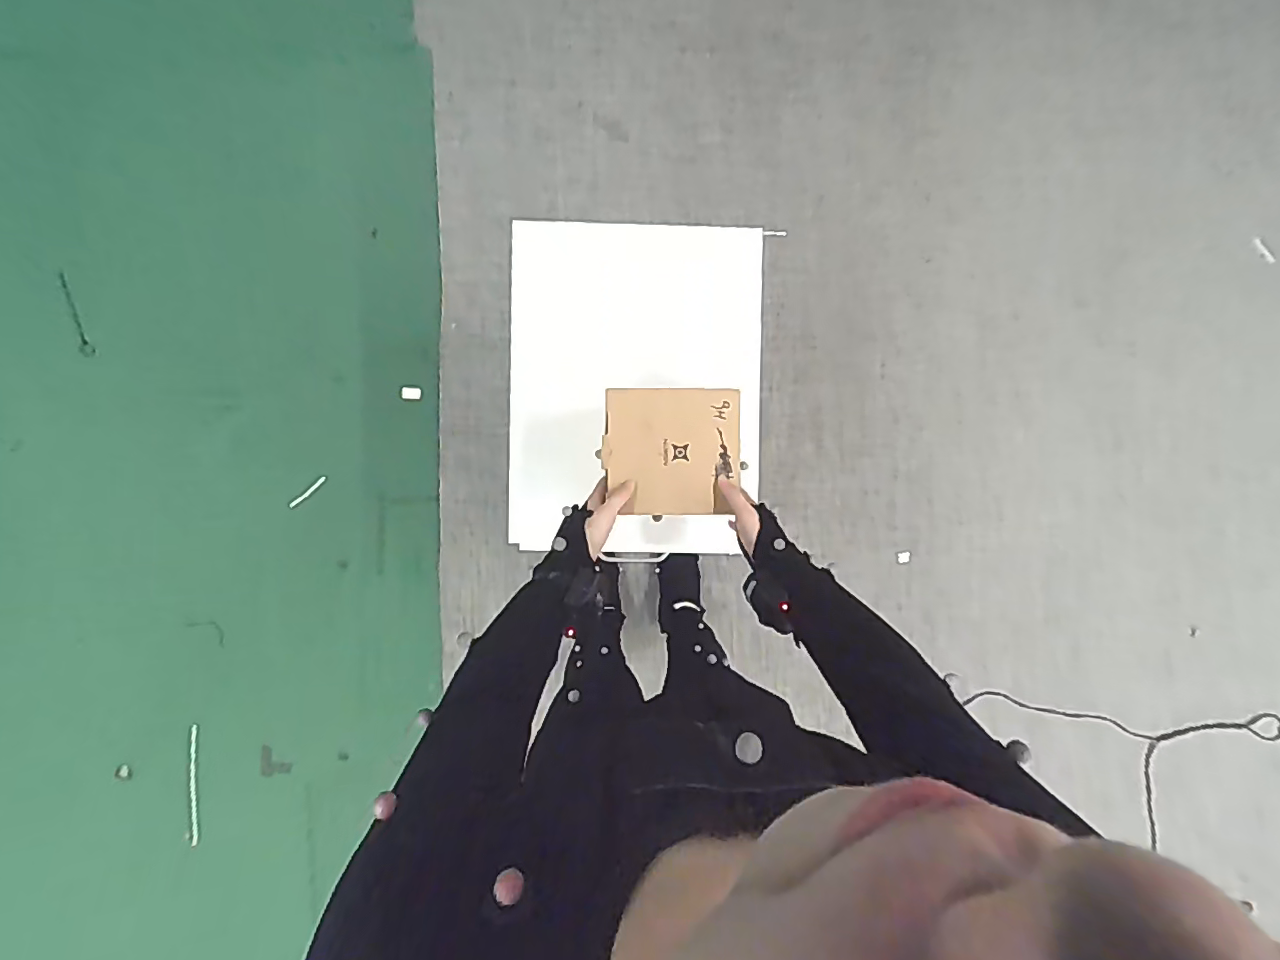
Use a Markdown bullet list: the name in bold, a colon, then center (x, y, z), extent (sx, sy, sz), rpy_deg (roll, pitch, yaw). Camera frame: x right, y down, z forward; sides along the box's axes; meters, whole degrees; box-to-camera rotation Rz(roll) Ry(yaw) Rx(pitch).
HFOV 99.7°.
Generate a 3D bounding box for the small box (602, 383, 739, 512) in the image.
- **small box**: center (0.038, -0.040, 0.769), extent (0.179, 0.176, 0.168), rpy_deg (0, 90, -2)
